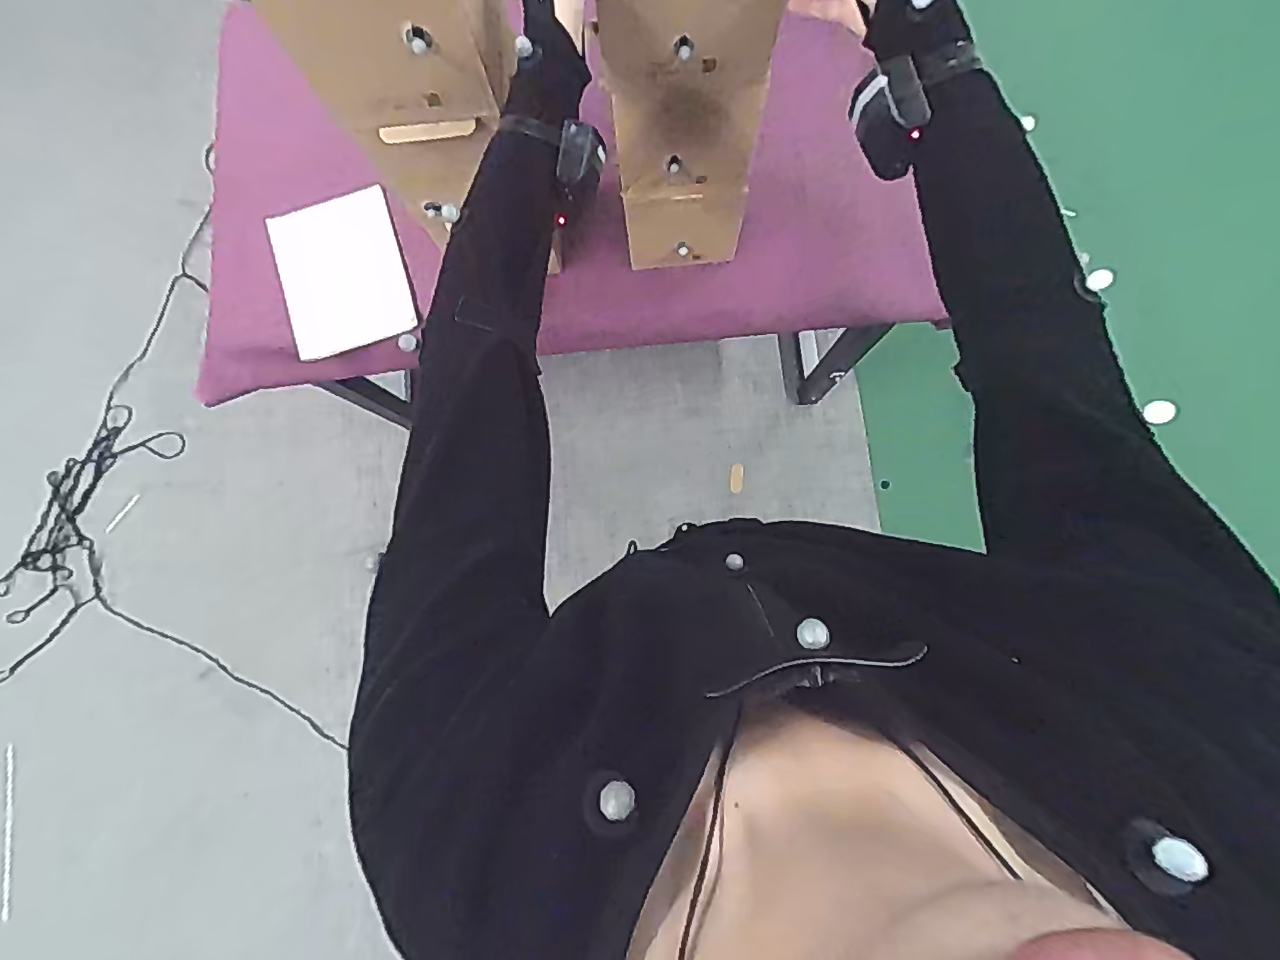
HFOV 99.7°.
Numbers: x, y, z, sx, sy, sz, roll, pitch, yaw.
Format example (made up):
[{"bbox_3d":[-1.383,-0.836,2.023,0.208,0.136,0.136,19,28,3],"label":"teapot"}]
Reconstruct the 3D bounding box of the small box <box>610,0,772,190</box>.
[{"bbox_3d":[0.052,-0.482,0.642,0.168,0.176,0.179,-4,81,2],"label":"small box"}]

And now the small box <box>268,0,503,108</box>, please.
[{"bbox_3d":[-0.226,-0.471,0.487,0.168,0.176,0.179,-3,81,1],"label":"small box"}]

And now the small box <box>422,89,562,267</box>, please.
[{"bbox_3d":[-0.214,-0.437,0.813,0.168,0.176,0.179,-4,83,1],"label":"small box"}]

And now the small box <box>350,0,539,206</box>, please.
[{"bbox_3d":[-0.220,-0.453,0.648,0.168,0.176,0.179,-4,81,2],"label":"small box"}]

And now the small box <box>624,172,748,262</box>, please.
[{"bbox_3d":[0.061,-0.452,0.802,0.168,0.176,0.179,-4,81,3],"label":"small box"}]
